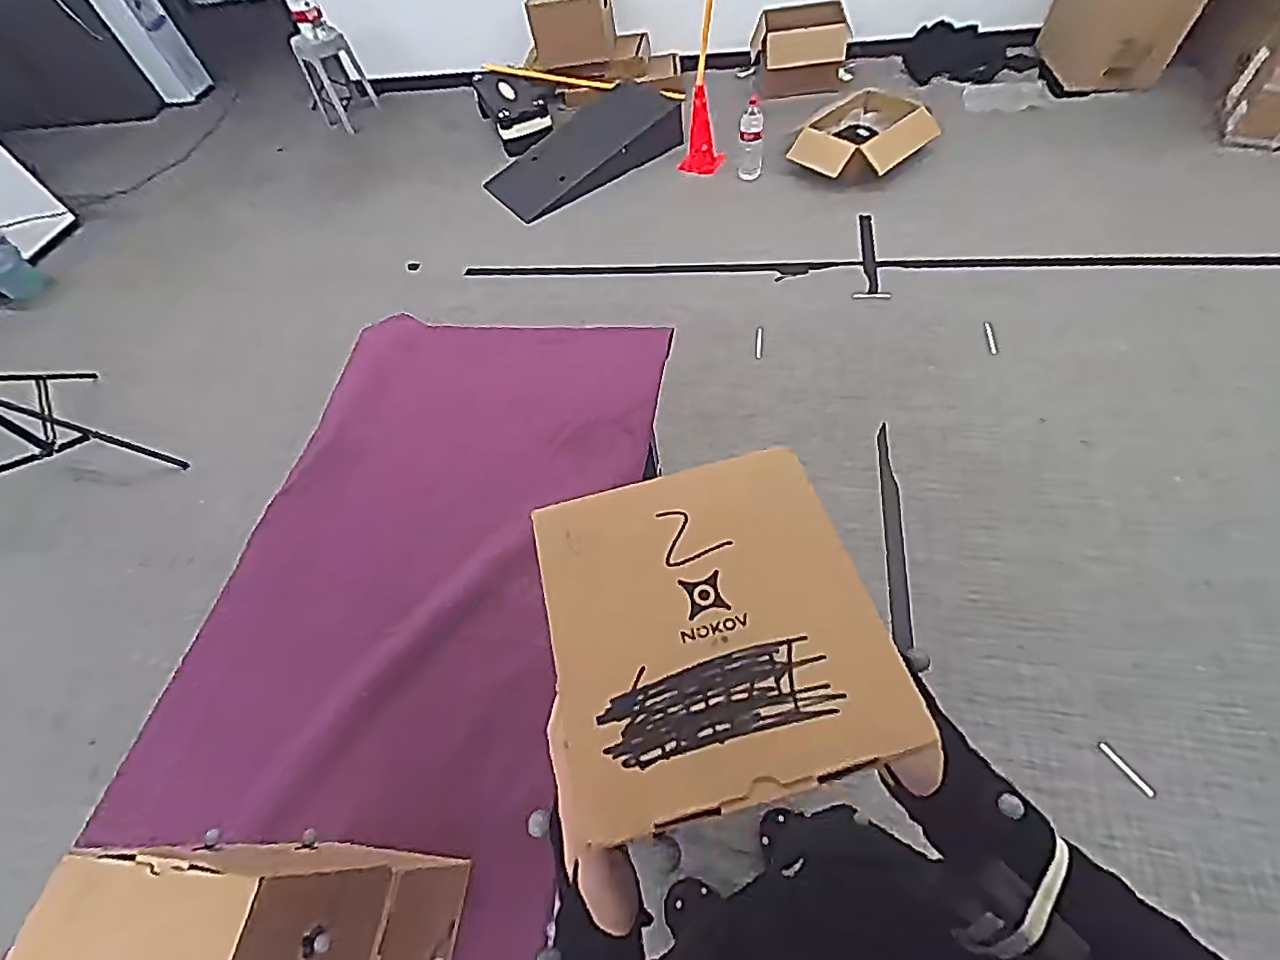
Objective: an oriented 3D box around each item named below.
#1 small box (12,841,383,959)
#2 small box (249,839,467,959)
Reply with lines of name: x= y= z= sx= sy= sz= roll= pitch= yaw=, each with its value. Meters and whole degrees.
small box: x=-0.323 y=0.378 z=0.398 sx=0.168 sy=0.176 sz=0.179 roll=-1 pitch=58 yaw=10
small box: x=-0.301 y=0.464 z=0.534 sx=0.179 sy=0.176 sz=0.168 roll=1 pitch=58 yaw=9
